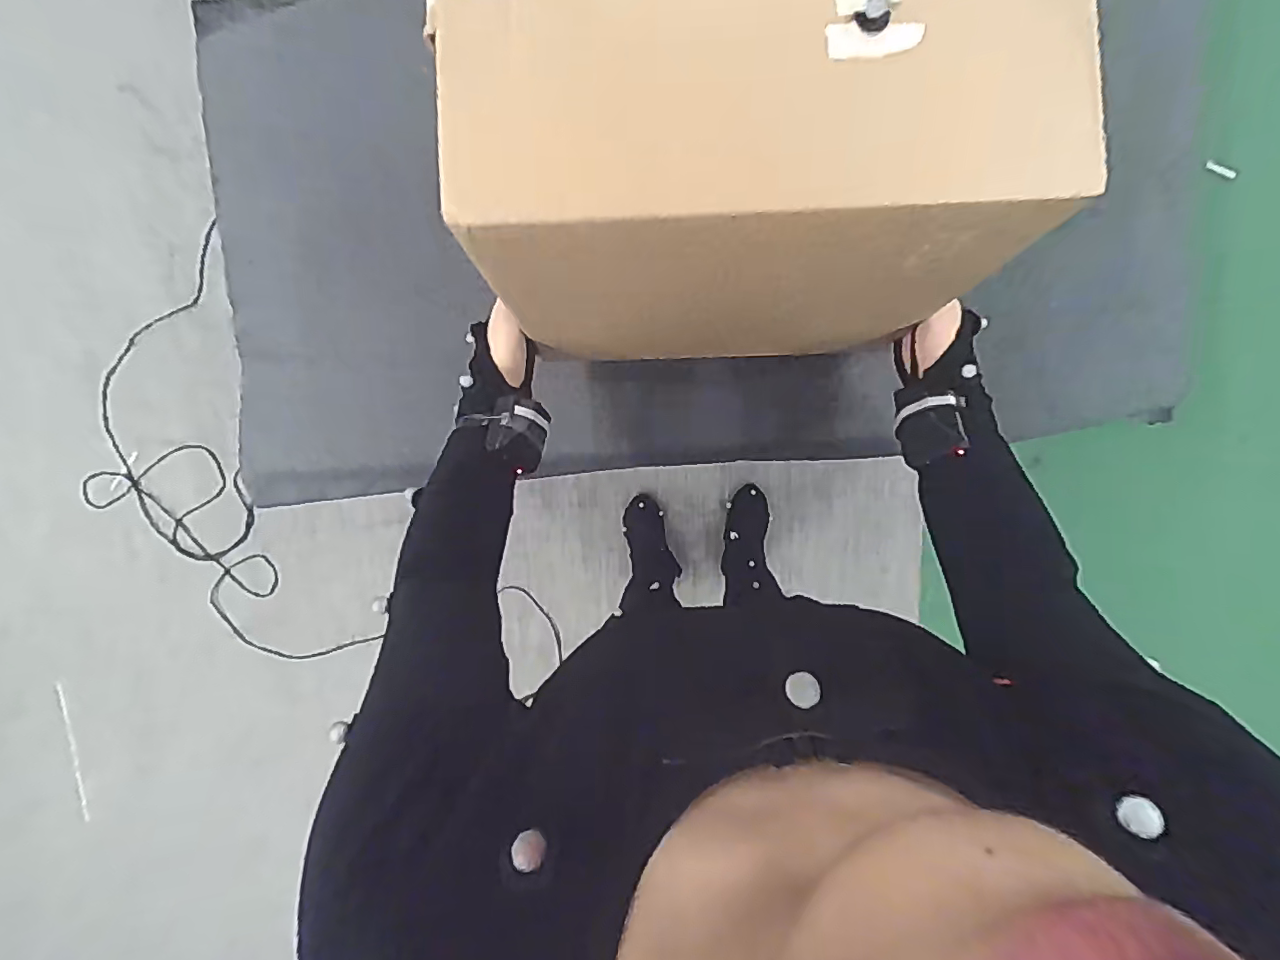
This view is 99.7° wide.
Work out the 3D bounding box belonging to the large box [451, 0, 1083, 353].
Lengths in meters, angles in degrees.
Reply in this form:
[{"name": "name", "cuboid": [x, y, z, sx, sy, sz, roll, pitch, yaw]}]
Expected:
[{"name": "large box", "cuboid": [0.074, -0.319, 0.499, 0.408, 0.320, 0.320, -2, 87, 0]}]
